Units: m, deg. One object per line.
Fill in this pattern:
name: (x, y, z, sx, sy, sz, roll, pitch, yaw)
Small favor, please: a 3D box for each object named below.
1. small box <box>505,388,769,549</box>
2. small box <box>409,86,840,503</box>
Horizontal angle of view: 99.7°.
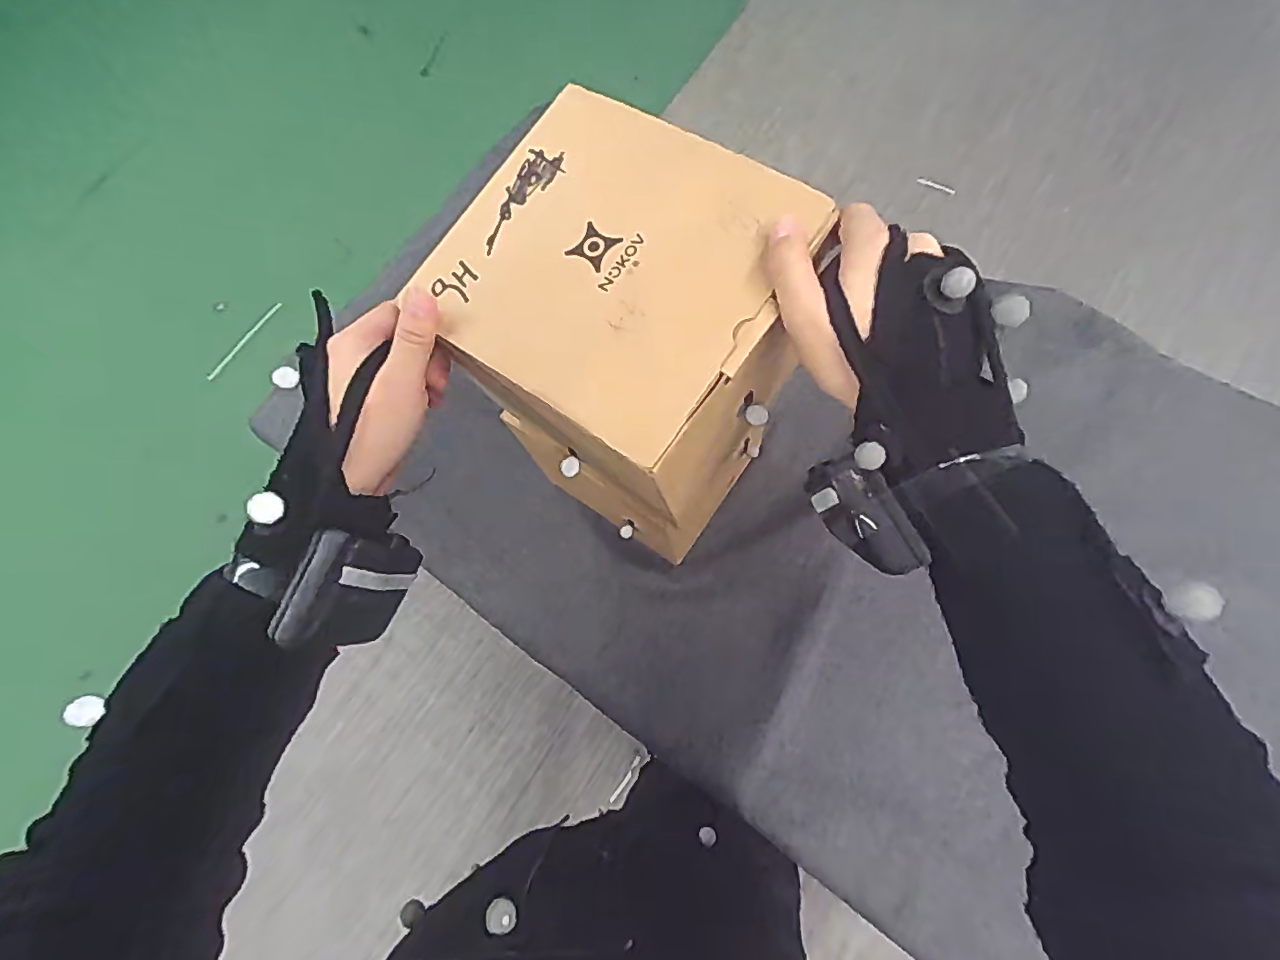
small box: (0.008, -0.048, 0.530, 0.179, 0.176, 0.168, 32, 76, 16)
small box: (-0.002, -0.099, 0.362, 0.179, 0.176, 0.168, 33, 83, 14)
